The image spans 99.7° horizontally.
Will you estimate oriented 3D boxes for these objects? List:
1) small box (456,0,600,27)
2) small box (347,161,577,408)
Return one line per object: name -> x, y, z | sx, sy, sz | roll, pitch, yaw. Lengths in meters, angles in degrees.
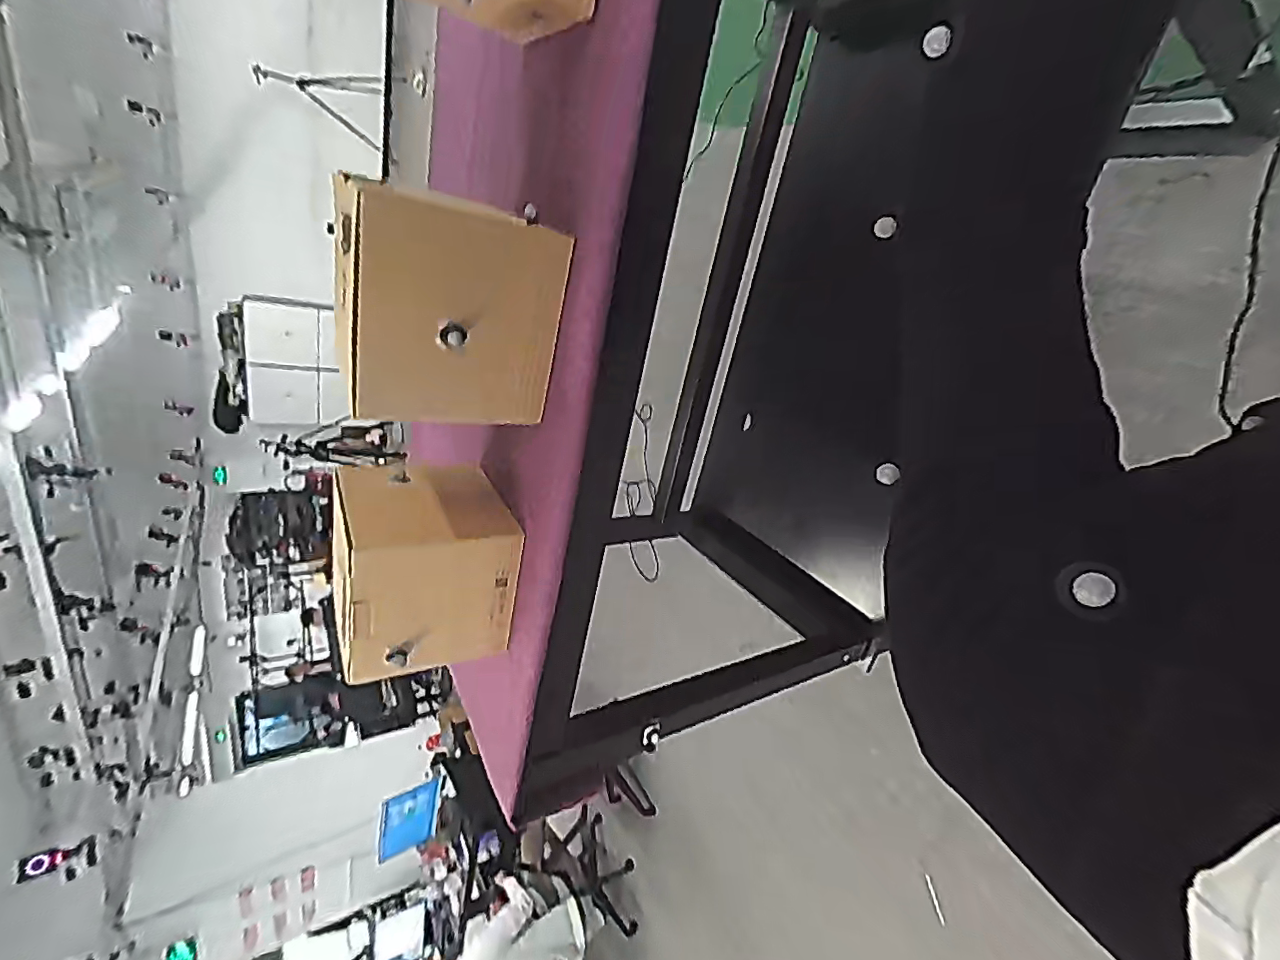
small box -> -0.114, -0.479, 0.407 | 0.168, 0.176, 0.179 | 43, 127, 47
small box -> -0.174, -0.180, 0.516 | 0.168, 0.176, 0.179 | 45, 130, 46
